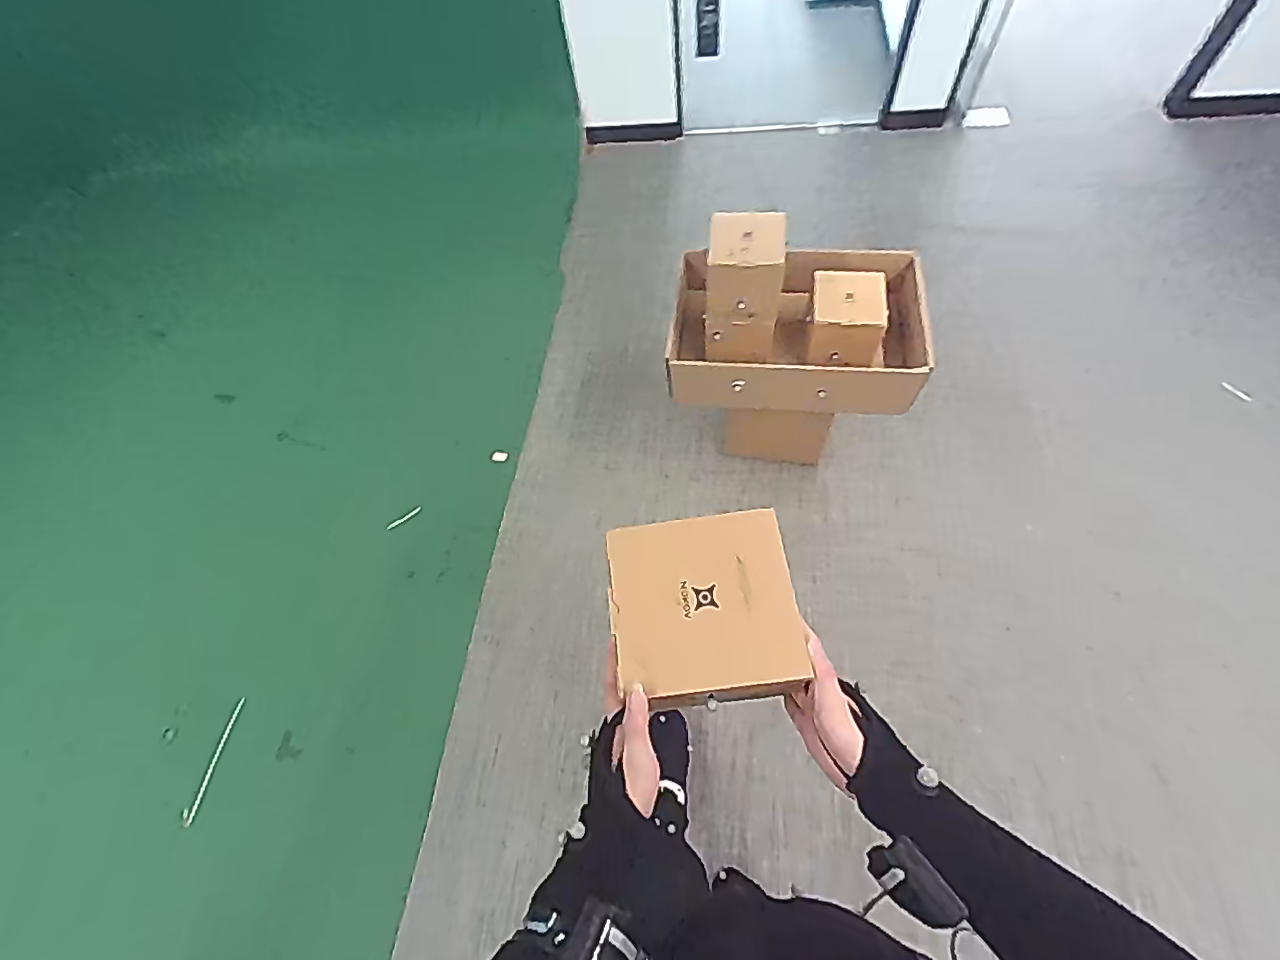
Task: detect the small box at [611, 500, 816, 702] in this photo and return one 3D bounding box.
[{"bbox_3d":[0.071,0.138,0.579,0.179,0.176,0.168,-7,63,3],"label":"small box"}]

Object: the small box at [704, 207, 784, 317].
[{"bbox_3d":[0.239,-0.507,1.261,0.168,0.176,0.179,4,62,9],"label":"small box"}]
